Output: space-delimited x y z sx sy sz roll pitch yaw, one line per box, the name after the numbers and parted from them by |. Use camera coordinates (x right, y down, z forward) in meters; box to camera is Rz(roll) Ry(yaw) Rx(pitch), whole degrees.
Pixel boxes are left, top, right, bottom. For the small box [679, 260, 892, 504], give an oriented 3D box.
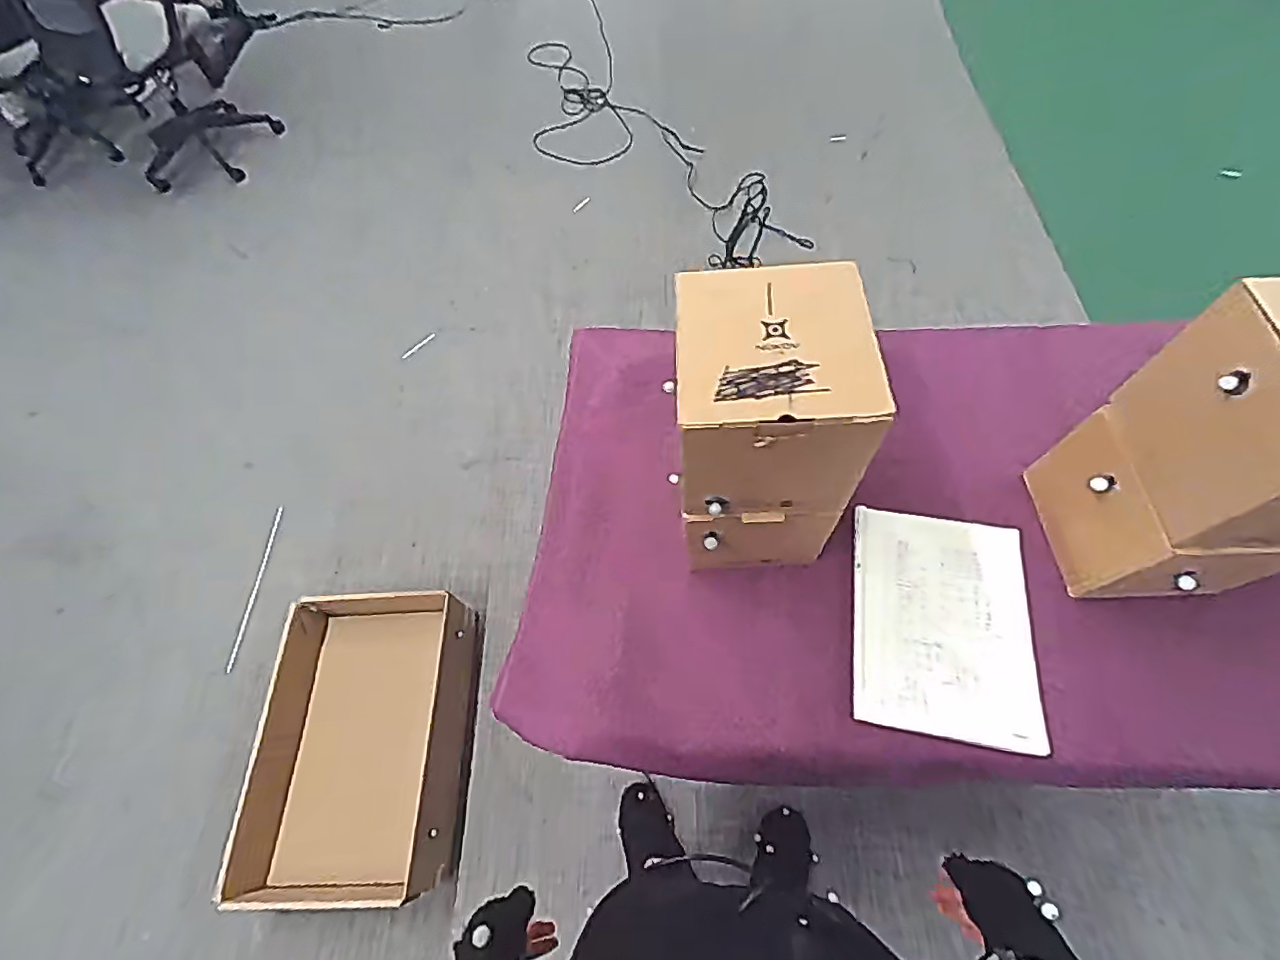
0.124 -0.084 0.530 0.168 0.176 0.179 -2 61 5 | small box

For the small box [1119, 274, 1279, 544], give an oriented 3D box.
0.579 -0.055 0.470 0.168 0.176 0.179 0 63 7 | small box

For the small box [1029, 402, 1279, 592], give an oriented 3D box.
0.592 0.026 0.614 0.168 0.176 0.179 -3 62 5 | small box
